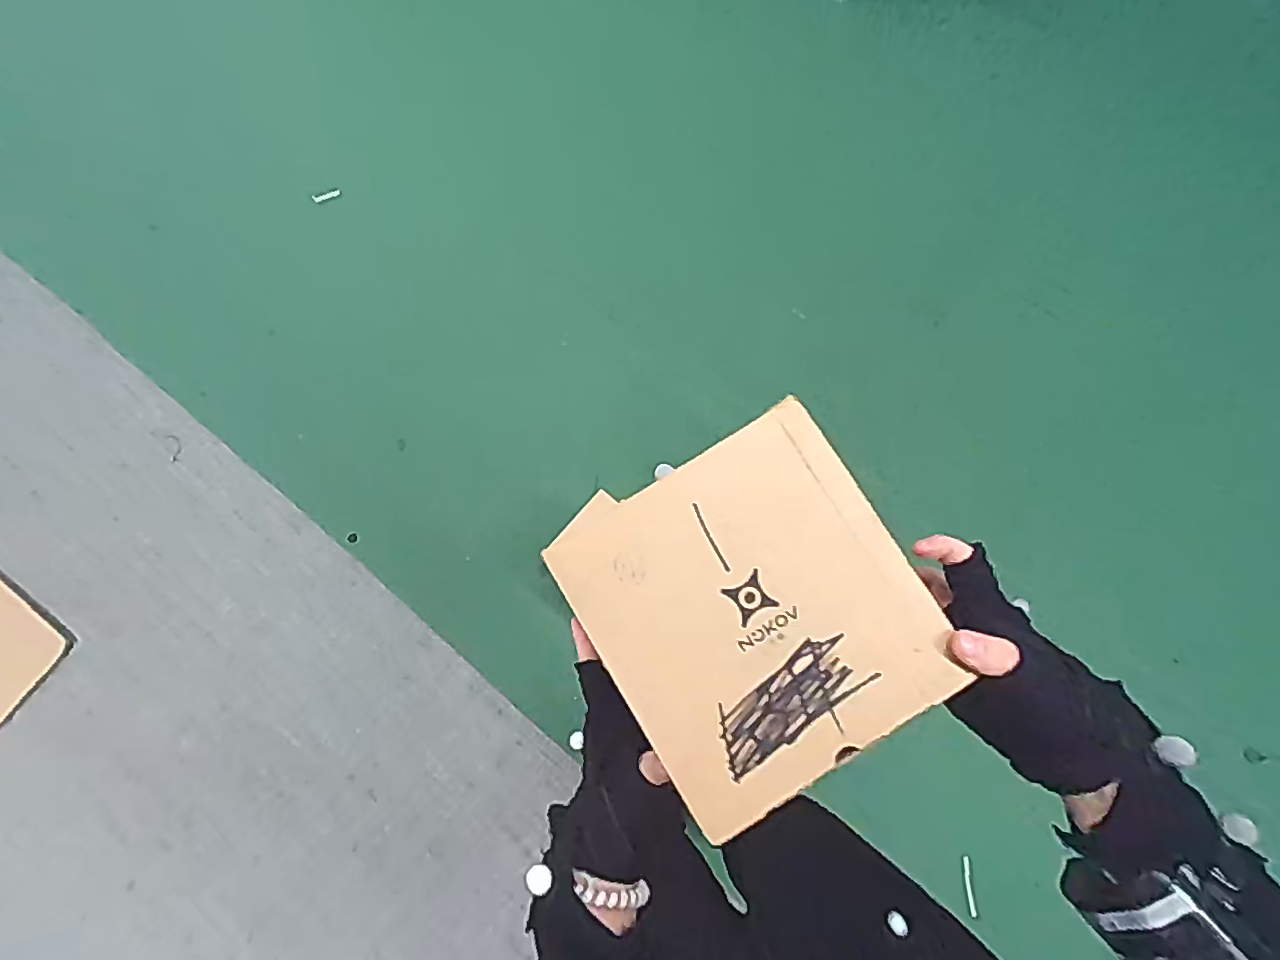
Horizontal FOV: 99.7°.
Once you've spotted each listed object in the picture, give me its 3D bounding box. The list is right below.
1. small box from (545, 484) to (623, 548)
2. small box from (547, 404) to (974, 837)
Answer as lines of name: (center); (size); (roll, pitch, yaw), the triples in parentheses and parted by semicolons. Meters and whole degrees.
small box: (-0.067, 0.139, 1.107); (0.179, 0.176, 0.168); (41, 81, 8)
small box: (0.065, 0.077, 0.364); (0.168, 0.176, 0.179); (-31, 84, -1)
